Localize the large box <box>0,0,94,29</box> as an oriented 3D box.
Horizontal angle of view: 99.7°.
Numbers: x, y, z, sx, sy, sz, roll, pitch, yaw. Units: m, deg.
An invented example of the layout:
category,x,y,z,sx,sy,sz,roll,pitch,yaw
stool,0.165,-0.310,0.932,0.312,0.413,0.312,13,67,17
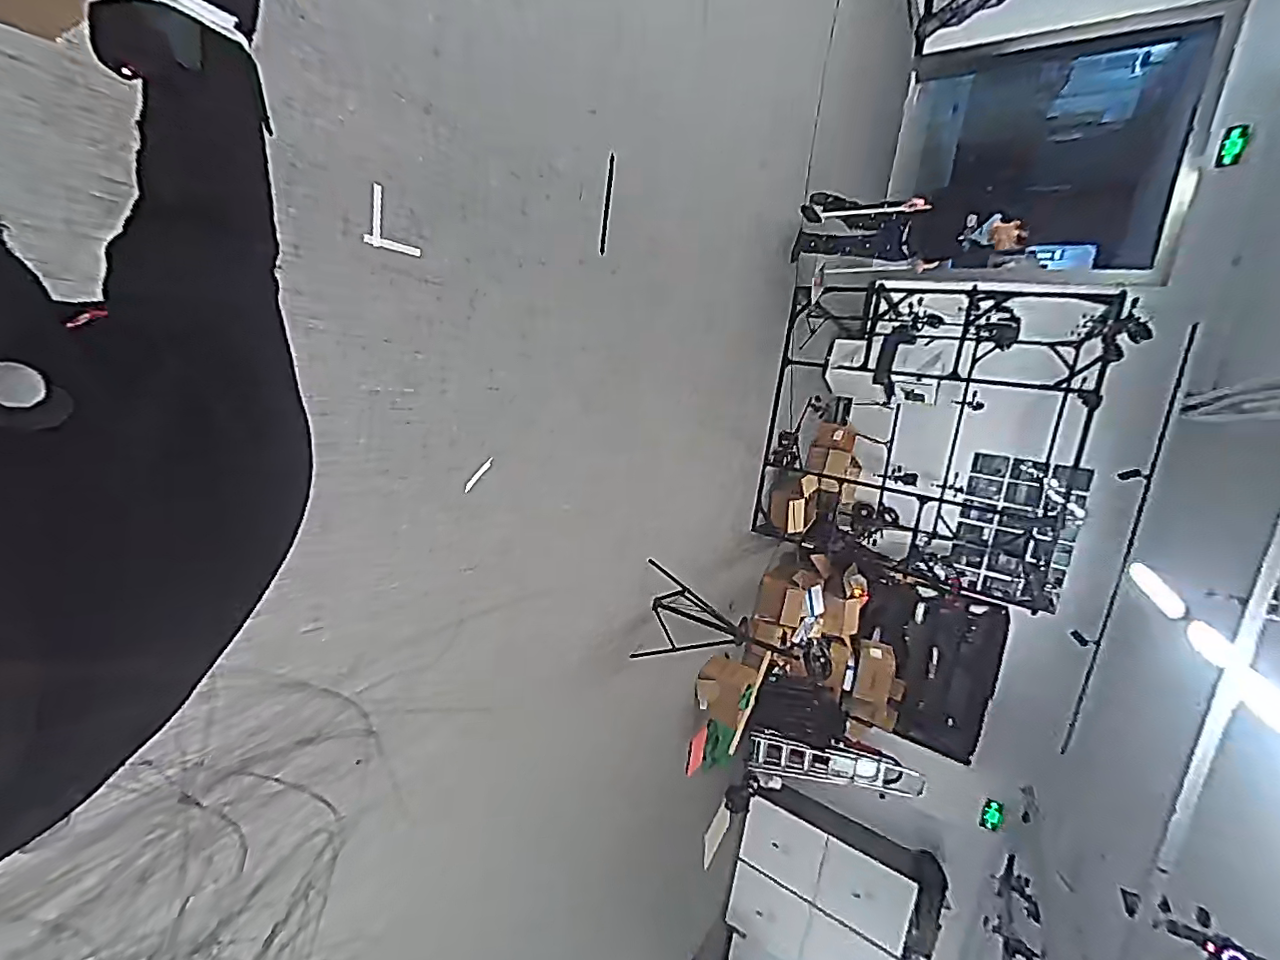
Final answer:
category,x,y,z,sx,sy,sz,roll,pitch,yaw
large box,-0.540,-0.512,0.248,0.408,0.320,0.320,-9,116,-55
